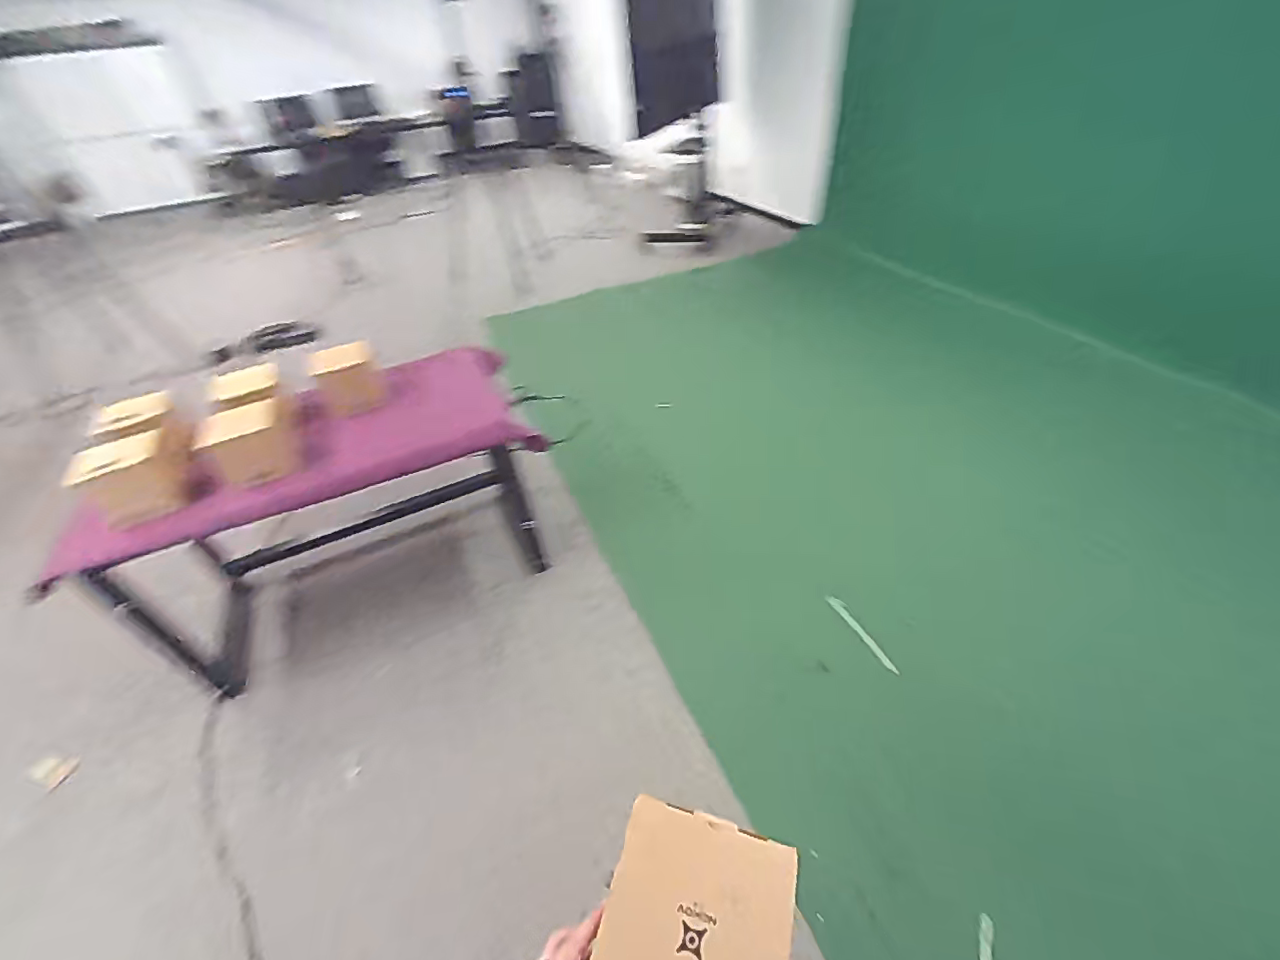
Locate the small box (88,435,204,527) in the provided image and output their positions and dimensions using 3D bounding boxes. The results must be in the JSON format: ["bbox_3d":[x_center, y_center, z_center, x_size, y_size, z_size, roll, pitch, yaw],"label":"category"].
[{"bbox_3d":[-1.351,0.010,1.495,0.168,0.176,0.179,-23,41,-18],"label":"small box"}]

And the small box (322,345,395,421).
[{"bbox_3d":[-0.949,-0.327,1.828,0.168,0.176,0.179,-20,43,-14],"label":"small box"}]

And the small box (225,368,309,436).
[{"bbox_3d":[-1.208,-0.235,1.764,0.168,0.176,0.179,-21,44,-15],"label":"small box"}]

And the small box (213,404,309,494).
[{"bbox_3d":[-1.096,-0.090,1.579,0.168,0.176,0.179,-21,43,-14],"label":"small box"}]
